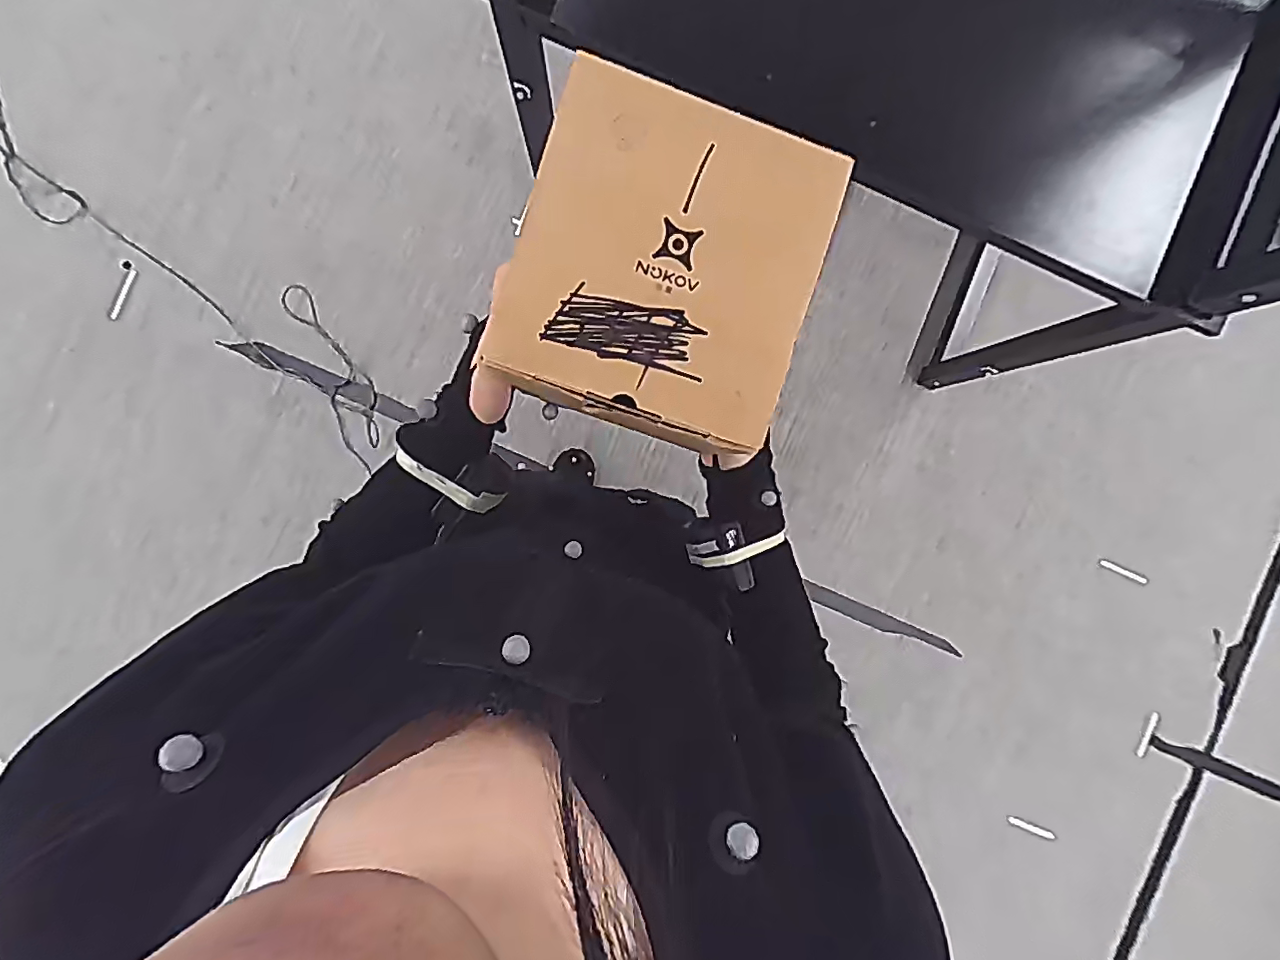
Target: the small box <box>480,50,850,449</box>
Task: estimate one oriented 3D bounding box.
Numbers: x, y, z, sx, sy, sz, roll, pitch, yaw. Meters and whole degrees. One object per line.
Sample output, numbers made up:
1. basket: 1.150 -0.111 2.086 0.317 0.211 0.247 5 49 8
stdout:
1. small box: 0.009 -0.127 0.377 0.168 0.176 0.179 18 91 -6
